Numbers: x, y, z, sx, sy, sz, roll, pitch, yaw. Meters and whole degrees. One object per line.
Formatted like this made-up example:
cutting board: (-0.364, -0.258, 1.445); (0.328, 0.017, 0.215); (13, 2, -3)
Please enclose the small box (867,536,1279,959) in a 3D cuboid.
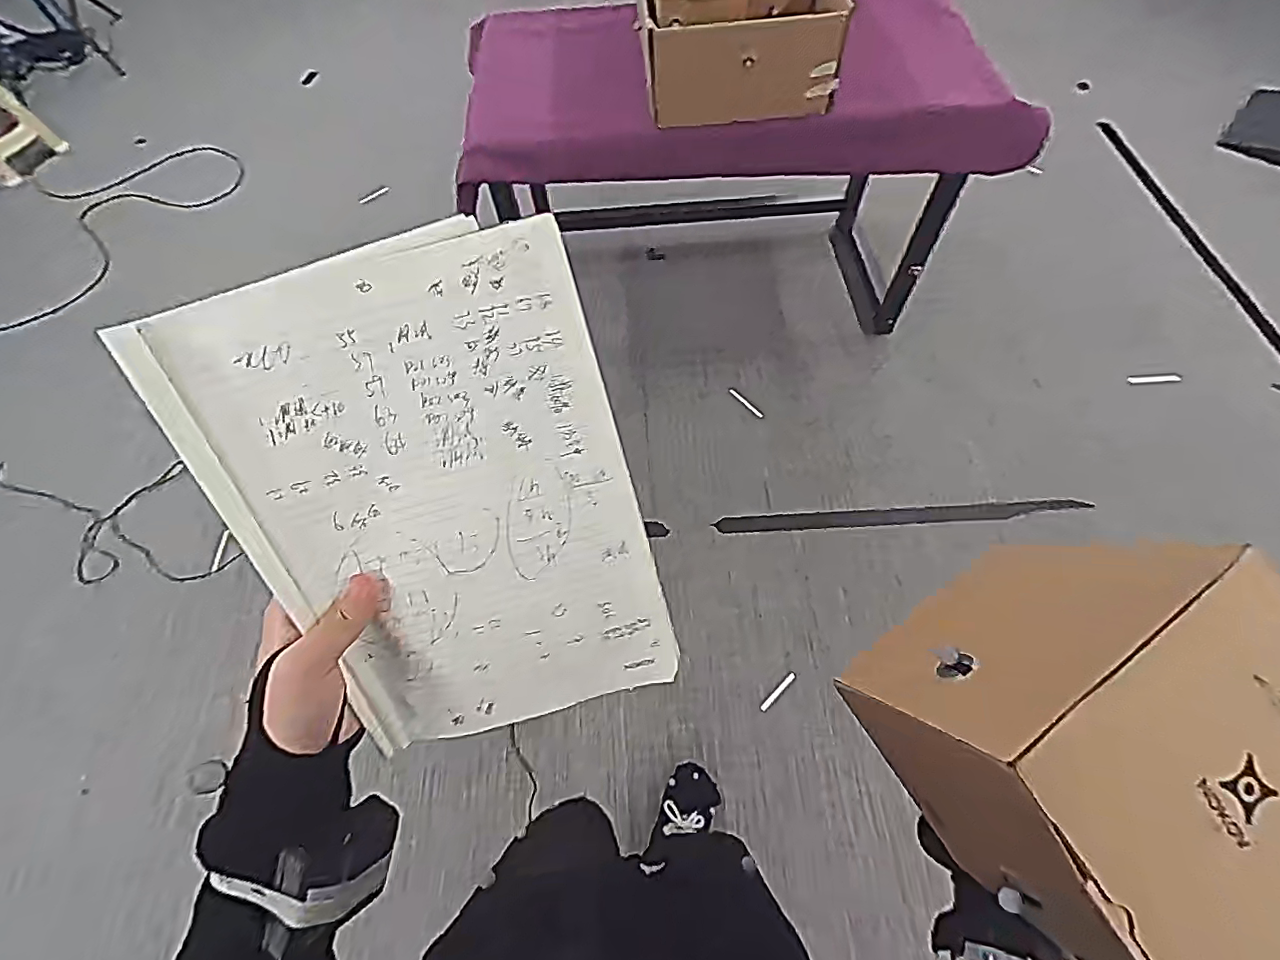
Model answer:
small box: (0.270, 0.151, 0.326); (0.179, 0.176, 0.168); (-35, 89, -11)
